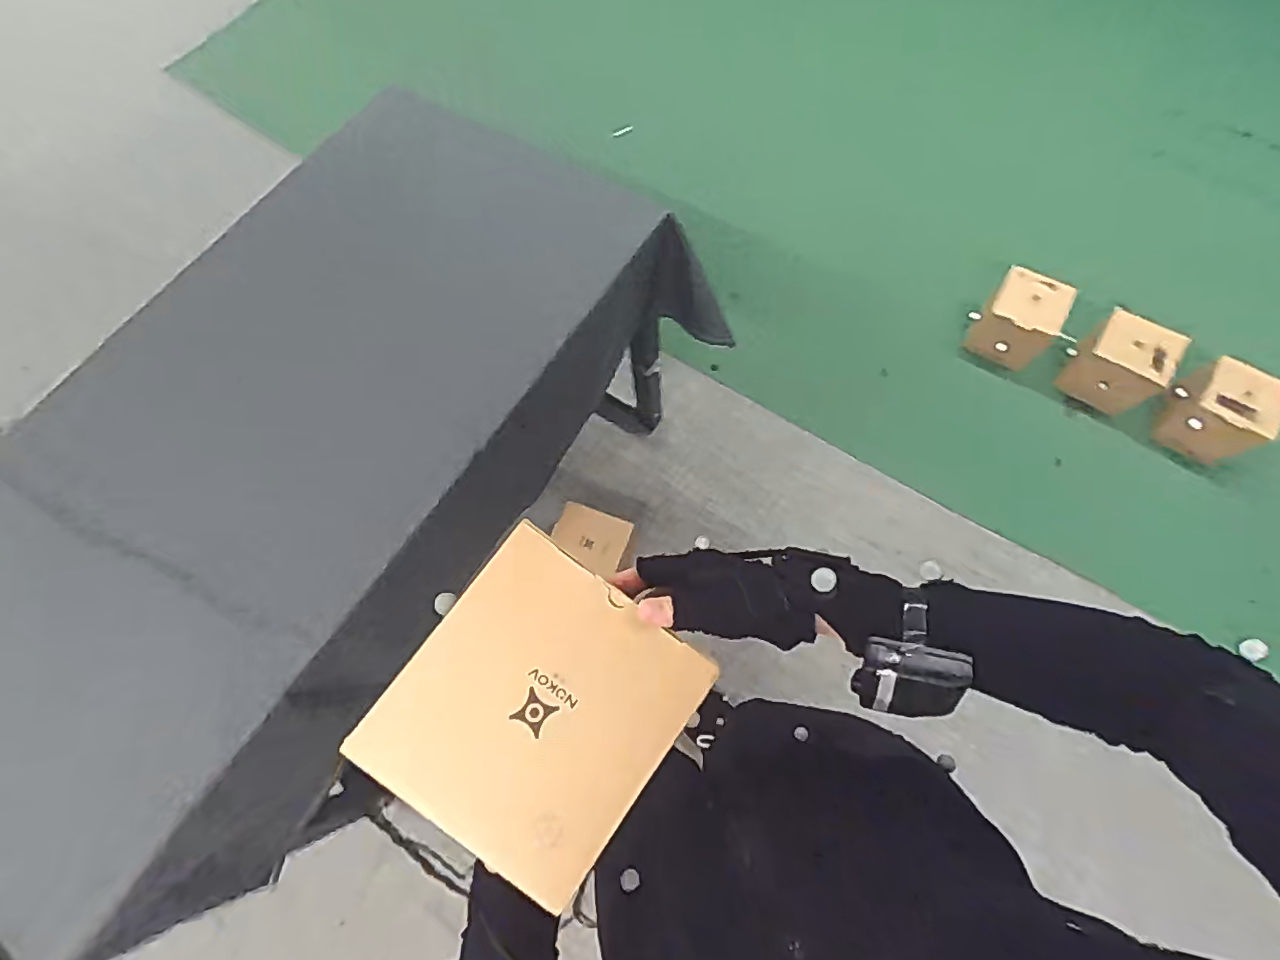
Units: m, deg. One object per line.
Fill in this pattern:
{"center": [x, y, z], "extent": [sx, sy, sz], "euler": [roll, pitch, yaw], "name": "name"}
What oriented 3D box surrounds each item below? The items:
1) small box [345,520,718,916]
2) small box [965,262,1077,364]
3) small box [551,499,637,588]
{"center": [-0.069, 0.155, 0.412], "extent": [0.168, 0.176, 0.179], "euler": [37, 79, 2], "name": "small box"}
{"center": [1.030, -0.449, 1.479], "extent": [0.168, 0.176, 0.179], "euler": [30, 76, 13], "name": "small box"}
{"center": [-0.118, 0.170, 1.329], "extent": [0.179, 0.176, 0.168], "euler": [19, 73, 10], "name": "small box"}
